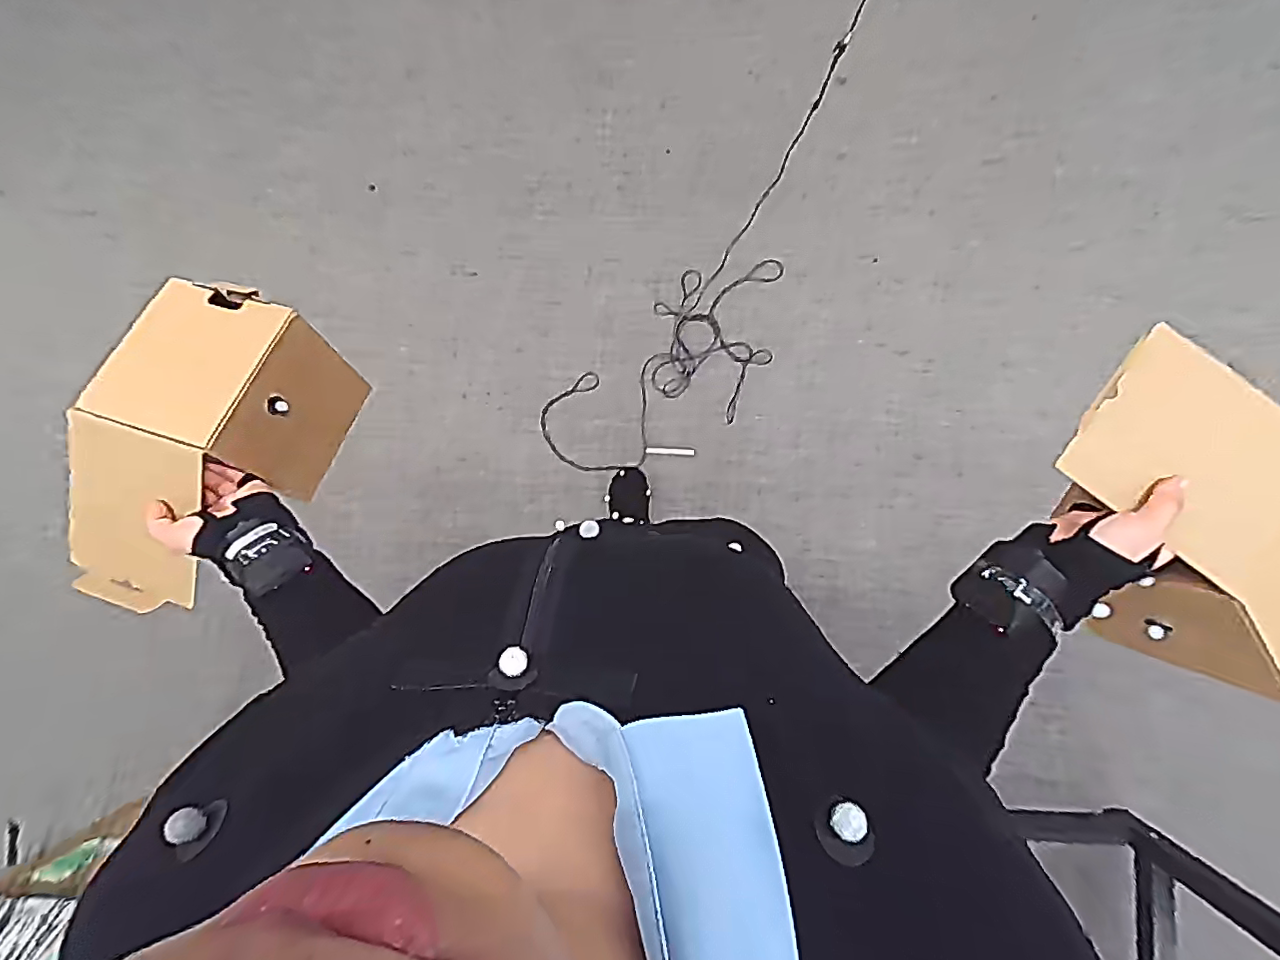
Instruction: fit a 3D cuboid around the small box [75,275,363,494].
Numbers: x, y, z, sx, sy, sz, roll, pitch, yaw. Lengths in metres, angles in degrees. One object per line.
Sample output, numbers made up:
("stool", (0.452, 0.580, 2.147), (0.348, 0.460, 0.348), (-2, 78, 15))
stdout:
("small box", (-0.469, -0.102, 0.639), (0.168, 0.176, 0.179), (17, 70, 8))
